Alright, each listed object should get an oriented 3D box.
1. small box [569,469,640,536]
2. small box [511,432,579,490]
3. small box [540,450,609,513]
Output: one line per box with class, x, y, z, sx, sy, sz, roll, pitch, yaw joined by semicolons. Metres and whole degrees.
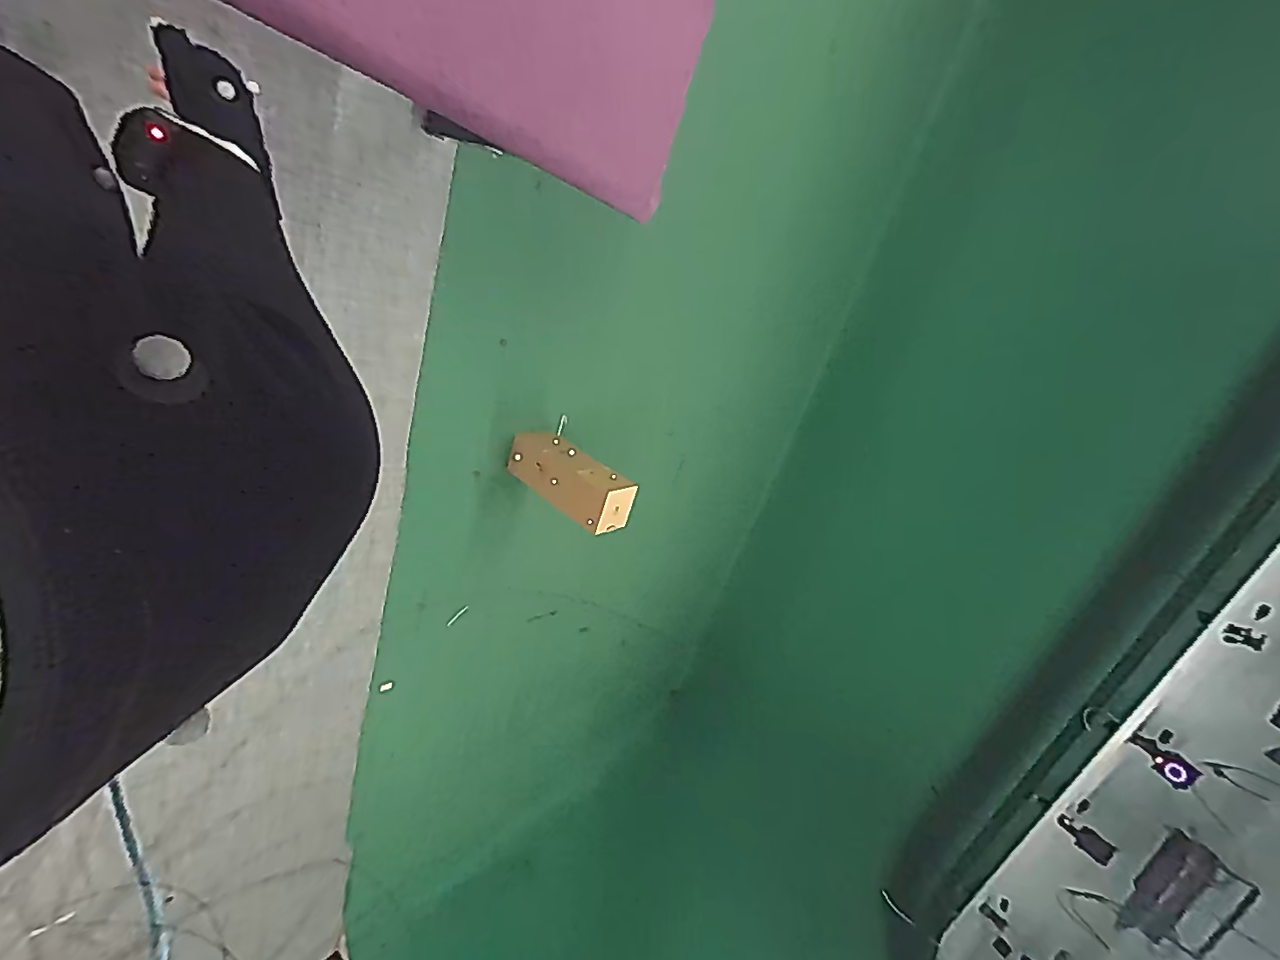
small box;-0.131;0.071;1.941;0.168;0.176;0.179;-11;127;-51
small box;-0.371;-0.080;2.104;0.179;0.176;0.168;-9;124;-51
small box;-0.249;0.001;2.023;0.168;0.176;0.179;-8;125;-54
